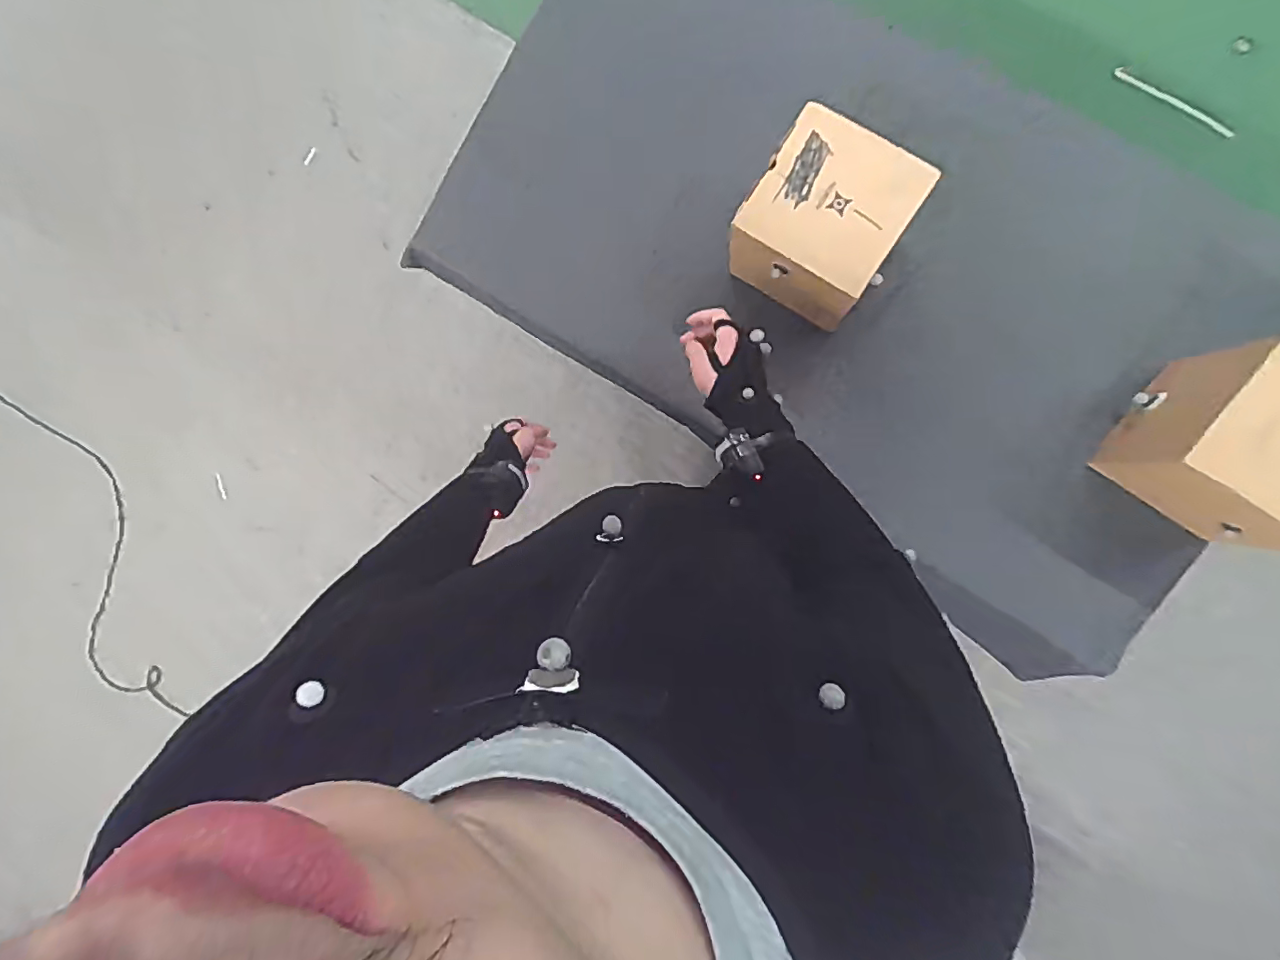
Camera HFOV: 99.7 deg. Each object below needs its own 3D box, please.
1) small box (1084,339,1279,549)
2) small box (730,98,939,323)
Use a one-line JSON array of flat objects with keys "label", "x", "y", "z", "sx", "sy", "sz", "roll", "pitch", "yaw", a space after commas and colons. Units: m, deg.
[{"label": "small box", "x": 0.694, "y": -0.037, "z": 0.631, "sx": 0.179, "sy": 0.176, "sz": 0.168, "roll": 36, "pitch": 97, "yaw": 7}, {"label": "small box", "x": 0.230, "y": -0.326, "z": 0.696, "sx": 0.179, "sy": 0.176, "sz": 0.168, "roll": 34, "pitch": 97, "yaw": 5}]
